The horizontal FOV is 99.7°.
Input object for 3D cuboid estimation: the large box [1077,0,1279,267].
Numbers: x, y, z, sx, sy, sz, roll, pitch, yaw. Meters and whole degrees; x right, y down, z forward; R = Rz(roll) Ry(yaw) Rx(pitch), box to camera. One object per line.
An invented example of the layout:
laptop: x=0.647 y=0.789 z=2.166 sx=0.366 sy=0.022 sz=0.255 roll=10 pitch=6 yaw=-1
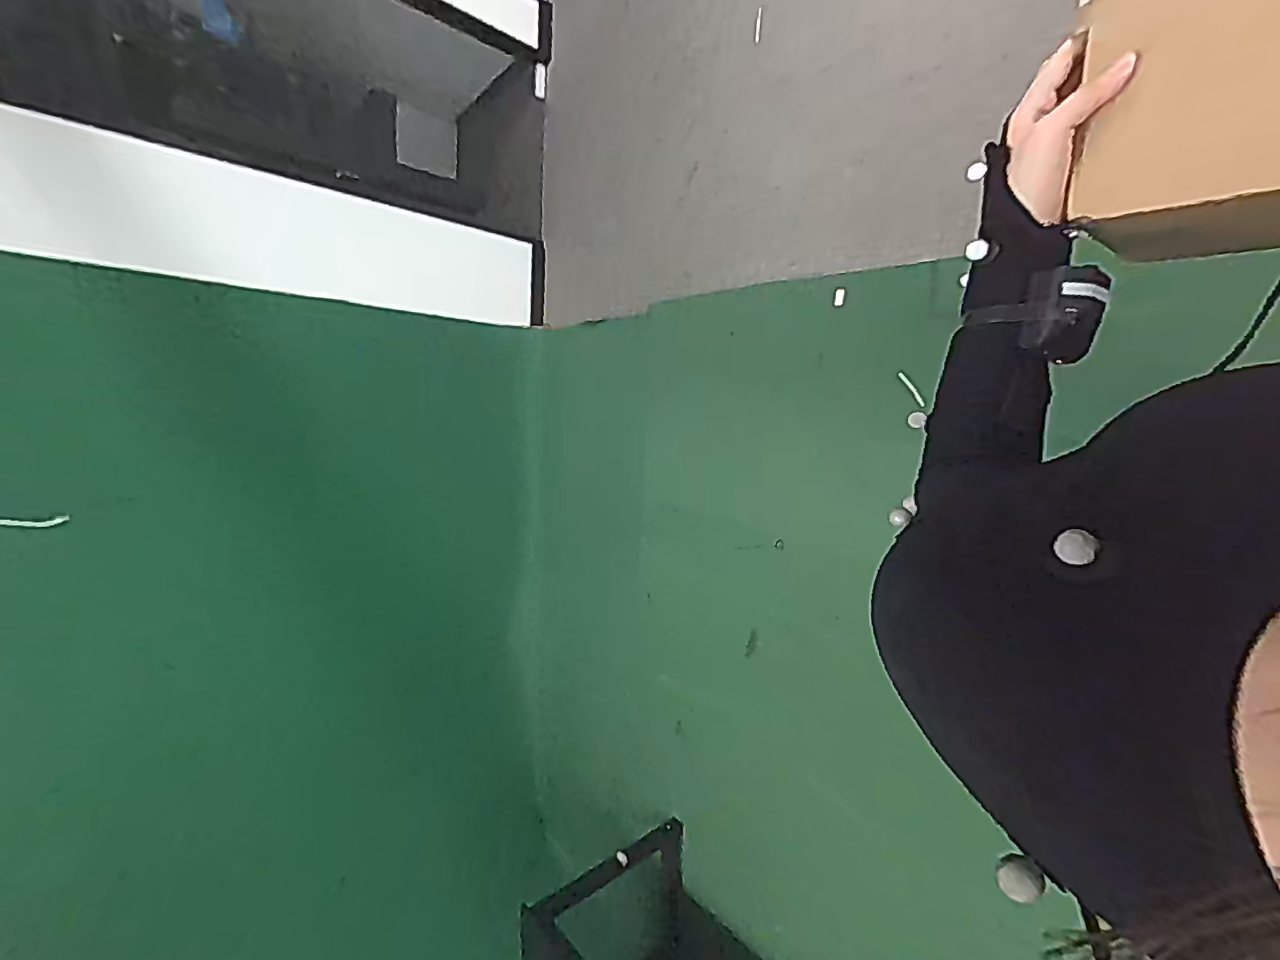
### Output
large box: x=0.564 y=-0.344 z=0.340 sx=0.408 sy=0.320 sz=0.320 roll=9 pitch=107 yaw=45
